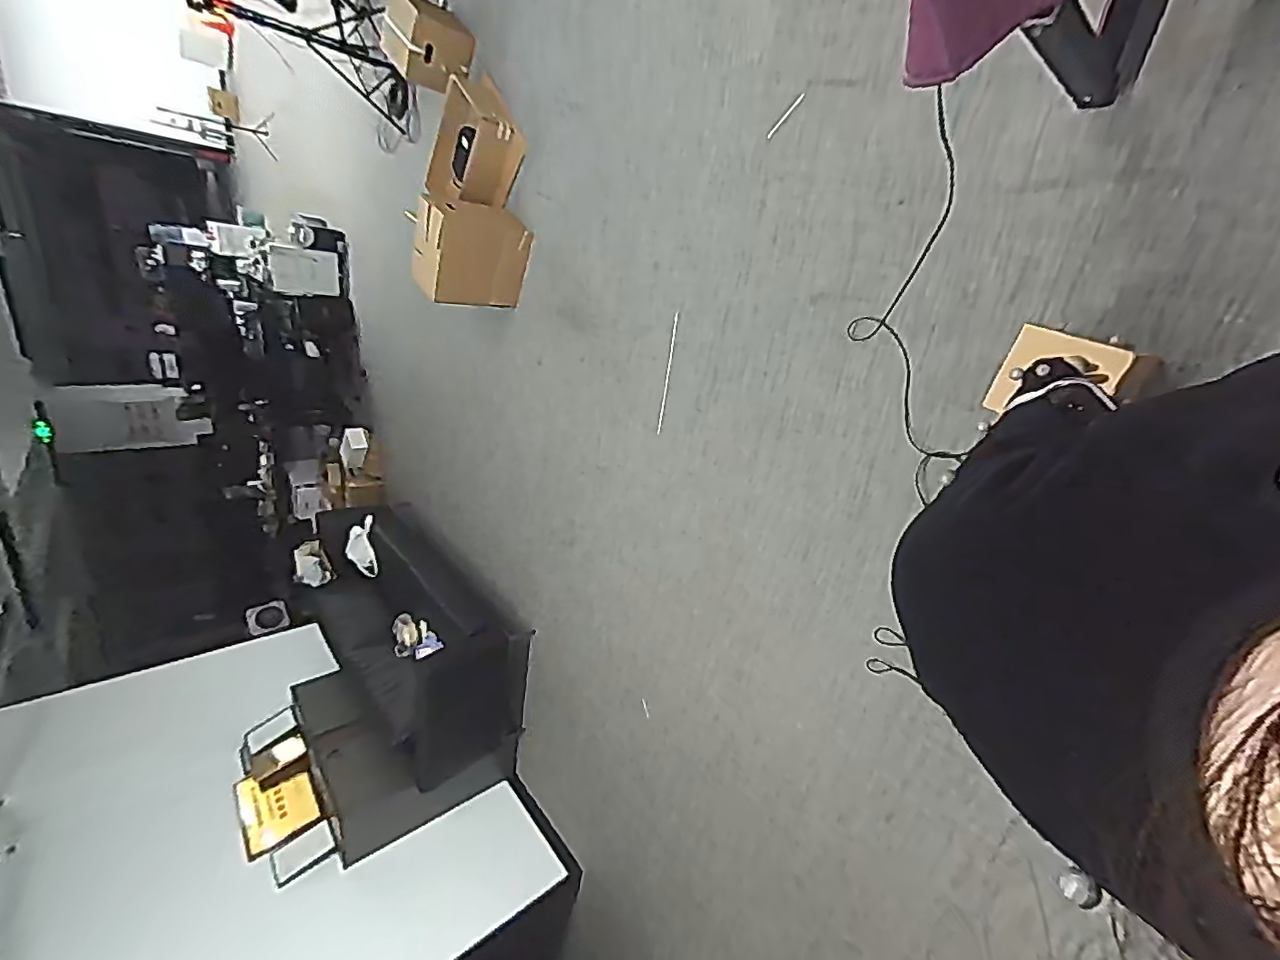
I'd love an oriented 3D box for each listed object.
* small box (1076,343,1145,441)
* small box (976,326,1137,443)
[{"bbox_3d":[0.921,-0.198,1.143,0.168,0.176,0.179,33,120,39],"label":"small box"},{"bbox_3d":[0.796,-0.185,1.036,0.179,0.176,0.168,37,124,37],"label":"small box"}]
